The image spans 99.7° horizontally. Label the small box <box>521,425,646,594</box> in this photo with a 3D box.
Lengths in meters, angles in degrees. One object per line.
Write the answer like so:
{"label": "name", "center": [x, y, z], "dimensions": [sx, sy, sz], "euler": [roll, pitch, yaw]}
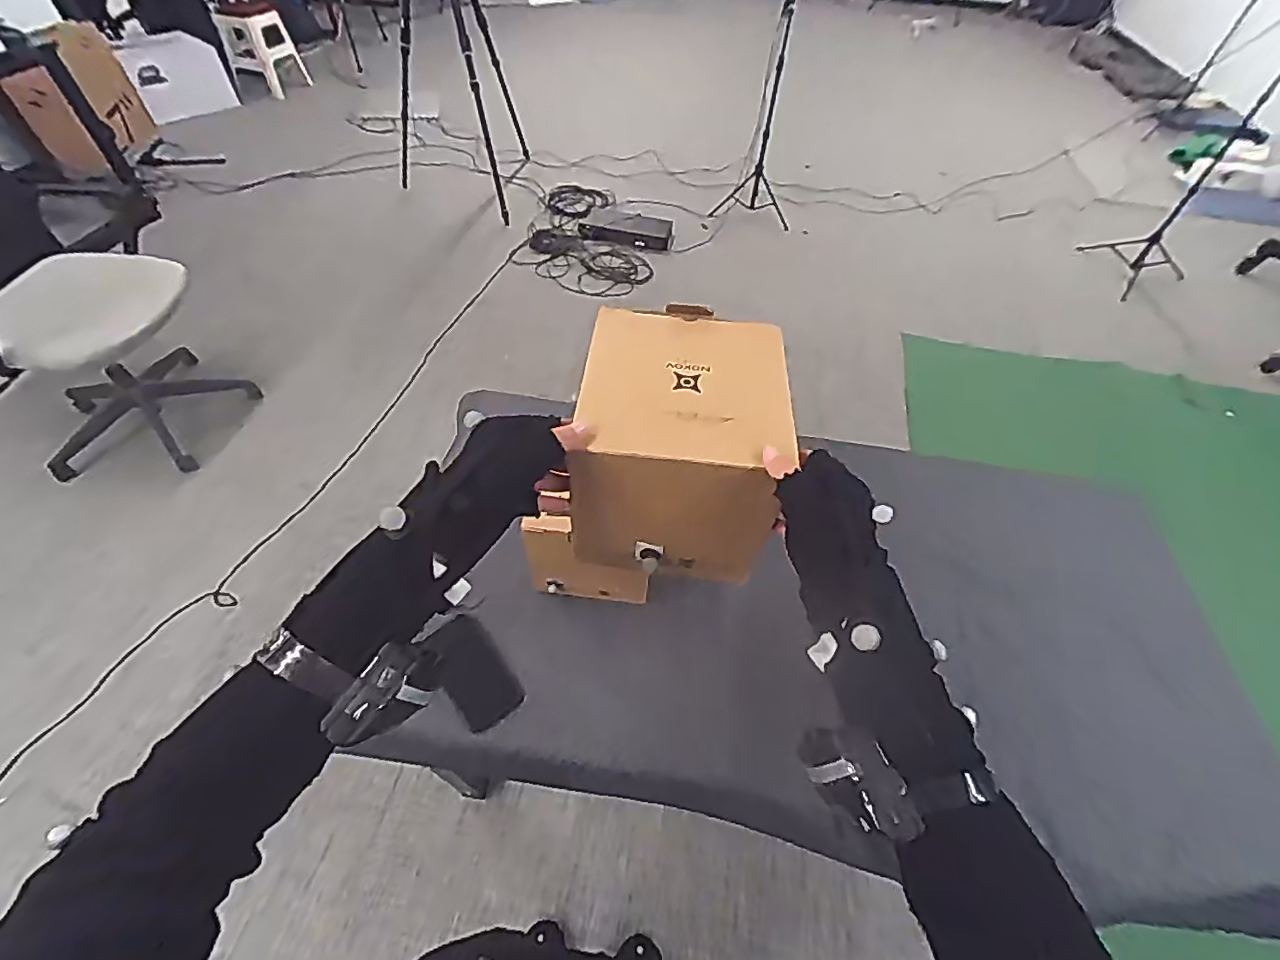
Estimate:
{"label": "small box", "center": [-0.063, 0.047, 0.786], "dimensions": [0.168, 0.176, 0.179], "euler": [7, 51, 2]}

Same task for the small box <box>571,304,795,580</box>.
{"label": "small box", "center": [0.031, -0.032, 0.497], "dimensions": [0.168, 0.176, 0.179], "euler": [6, 52, 0]}
